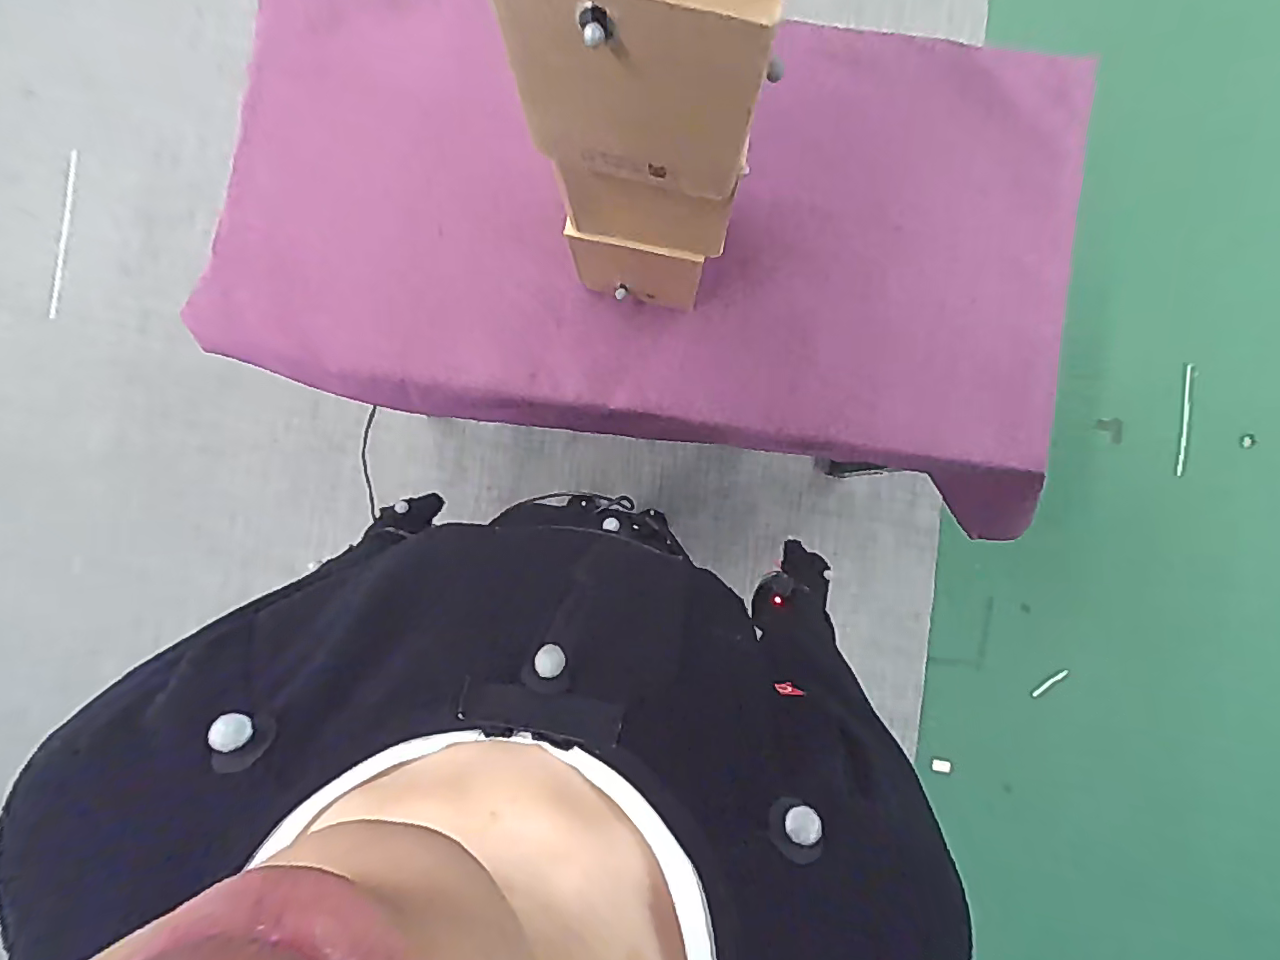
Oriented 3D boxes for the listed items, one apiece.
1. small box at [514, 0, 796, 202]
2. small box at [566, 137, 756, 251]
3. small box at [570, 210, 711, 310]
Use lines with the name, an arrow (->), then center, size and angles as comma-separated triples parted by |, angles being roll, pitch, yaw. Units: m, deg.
small box -> 0.019, -0.332, 0.369 | 0.168, 0.176, 0.179 | 13, 87, 1
small box -> 0.023, -0.350, 0.533 | 0.179, 0.176, 0.168 | 11, 88, 1
small box -> 0.017, -0.344, 0.694 | 0.168, 0.176, 0.179 | 12, 89, 1
